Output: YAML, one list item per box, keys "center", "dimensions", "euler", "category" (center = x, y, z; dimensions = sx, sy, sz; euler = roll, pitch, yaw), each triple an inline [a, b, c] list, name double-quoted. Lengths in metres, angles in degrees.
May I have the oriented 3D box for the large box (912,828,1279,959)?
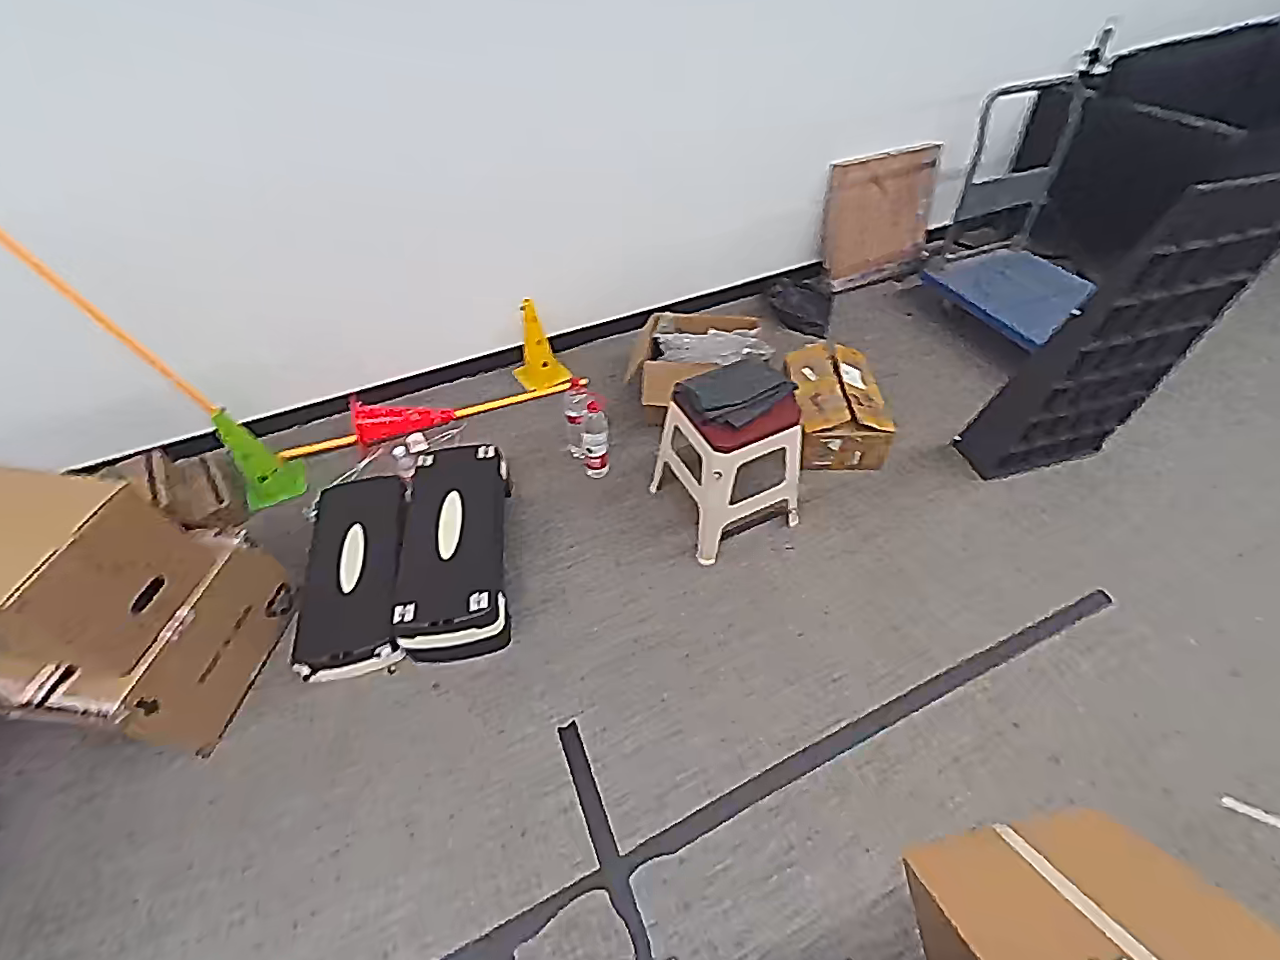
- center: [0.583, 0.693, 0.615]
  dimensions: [0.320, 0.408, 0.320]
  euler: [-12, 88, 0]
  category: "large box"
